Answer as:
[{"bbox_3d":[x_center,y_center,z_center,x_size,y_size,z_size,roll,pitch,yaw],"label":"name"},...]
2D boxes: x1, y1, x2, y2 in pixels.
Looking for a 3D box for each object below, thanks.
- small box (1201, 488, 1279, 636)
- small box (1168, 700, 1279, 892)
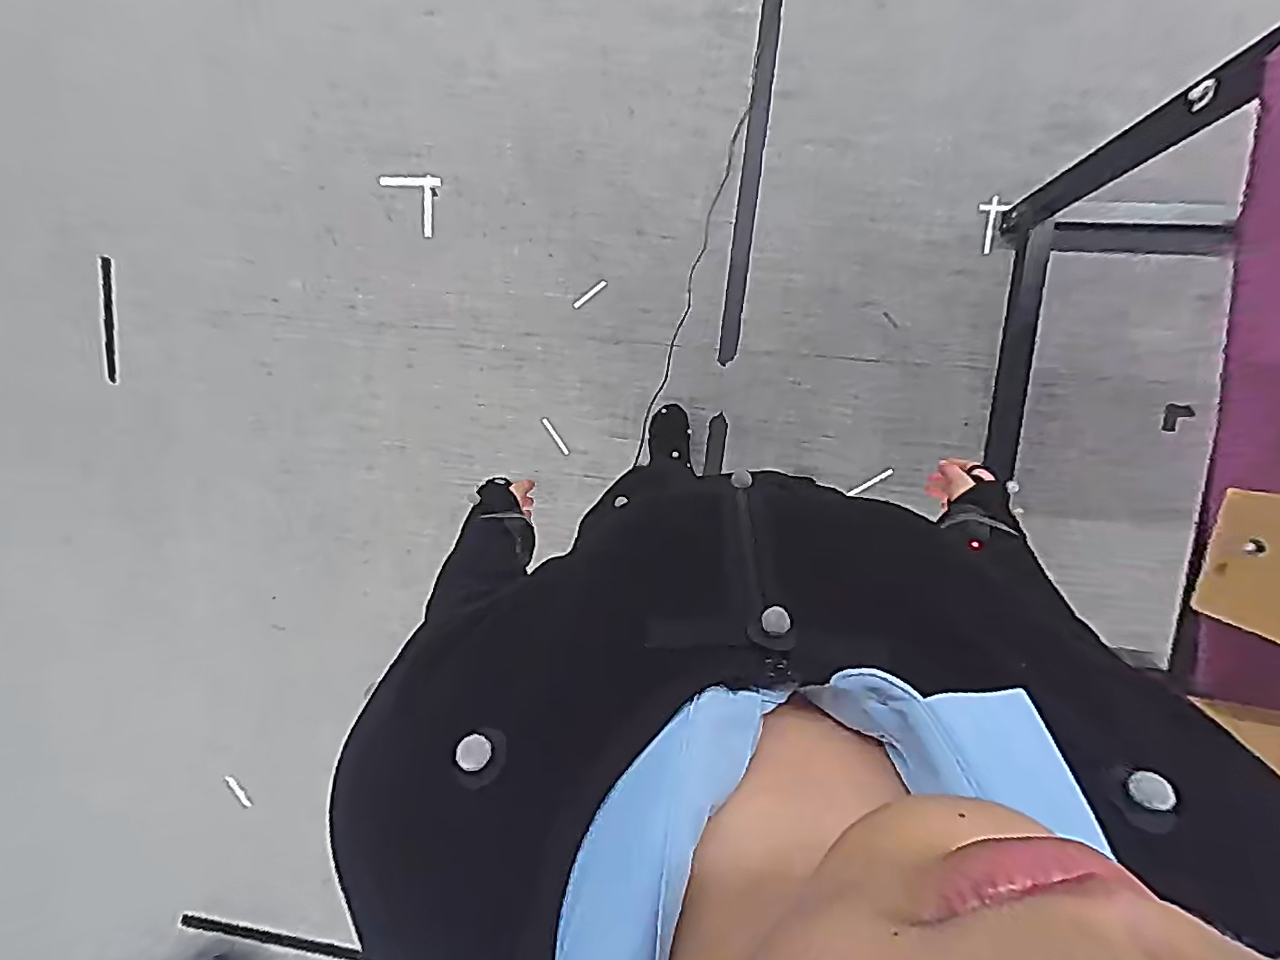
[{"bbox_3d":[0.815,0.110,0.604,0.179,0.176,0.168,11,98,6],"label":"small box"},{"bbox_3d":[0.794,0.383,0.635,0.179,0.176,0.168,8,97,3],"label":"small box"}]
